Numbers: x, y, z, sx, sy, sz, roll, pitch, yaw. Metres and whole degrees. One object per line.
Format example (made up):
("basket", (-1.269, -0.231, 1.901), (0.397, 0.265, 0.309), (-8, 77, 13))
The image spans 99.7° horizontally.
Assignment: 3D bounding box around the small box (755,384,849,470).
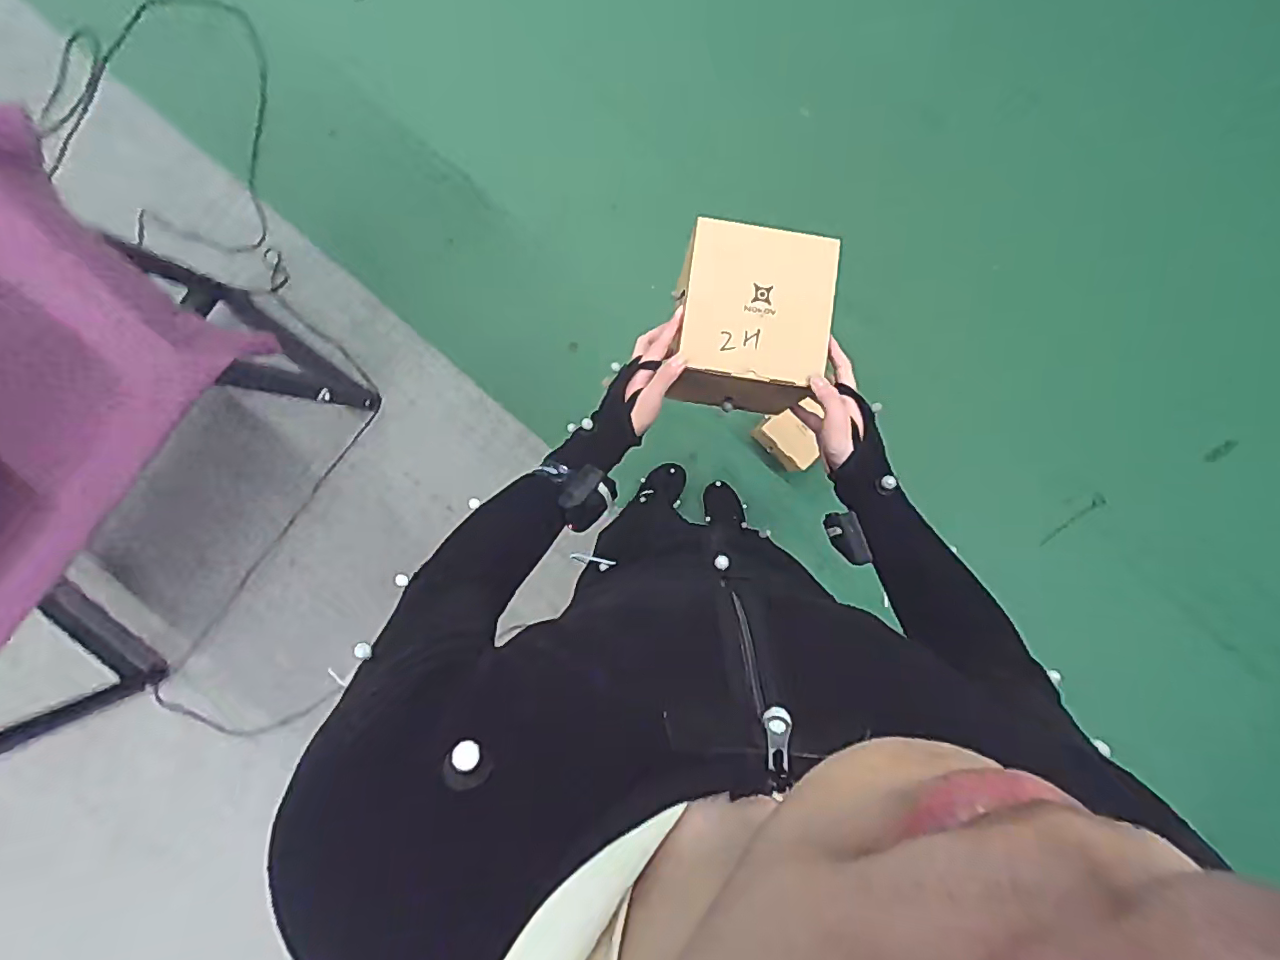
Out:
("small box", (0.450, -0.147, 1.535), (0.168, 0.176, 0.179), (44, 94, 0))
